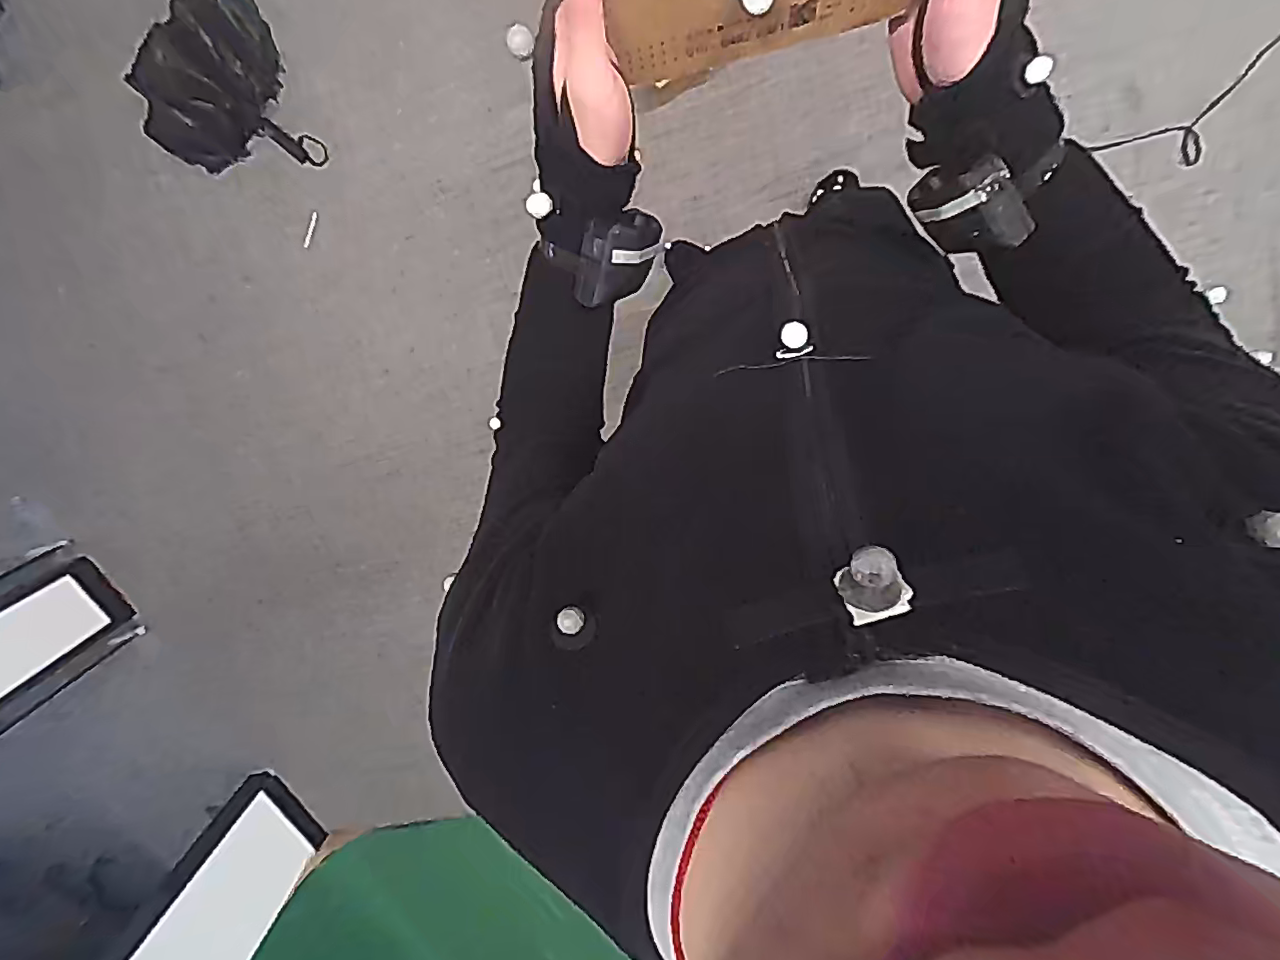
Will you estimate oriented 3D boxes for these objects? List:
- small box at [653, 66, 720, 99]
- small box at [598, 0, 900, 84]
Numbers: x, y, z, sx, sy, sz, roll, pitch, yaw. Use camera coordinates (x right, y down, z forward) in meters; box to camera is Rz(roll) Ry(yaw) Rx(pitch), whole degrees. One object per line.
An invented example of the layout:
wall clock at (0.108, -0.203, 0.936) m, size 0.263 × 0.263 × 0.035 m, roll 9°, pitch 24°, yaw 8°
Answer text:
small box at (0.078, -0.930, 1.122) m, size 0.168 × 0.176 × 0.179 m, roll -27°, pitch 108°, yaw 17°
small box at (0.042, -0.328, 0.232) m, size 0.168 × 0.176 × 0.179 m, roll -9°, pitch 88°, yaw 8°
